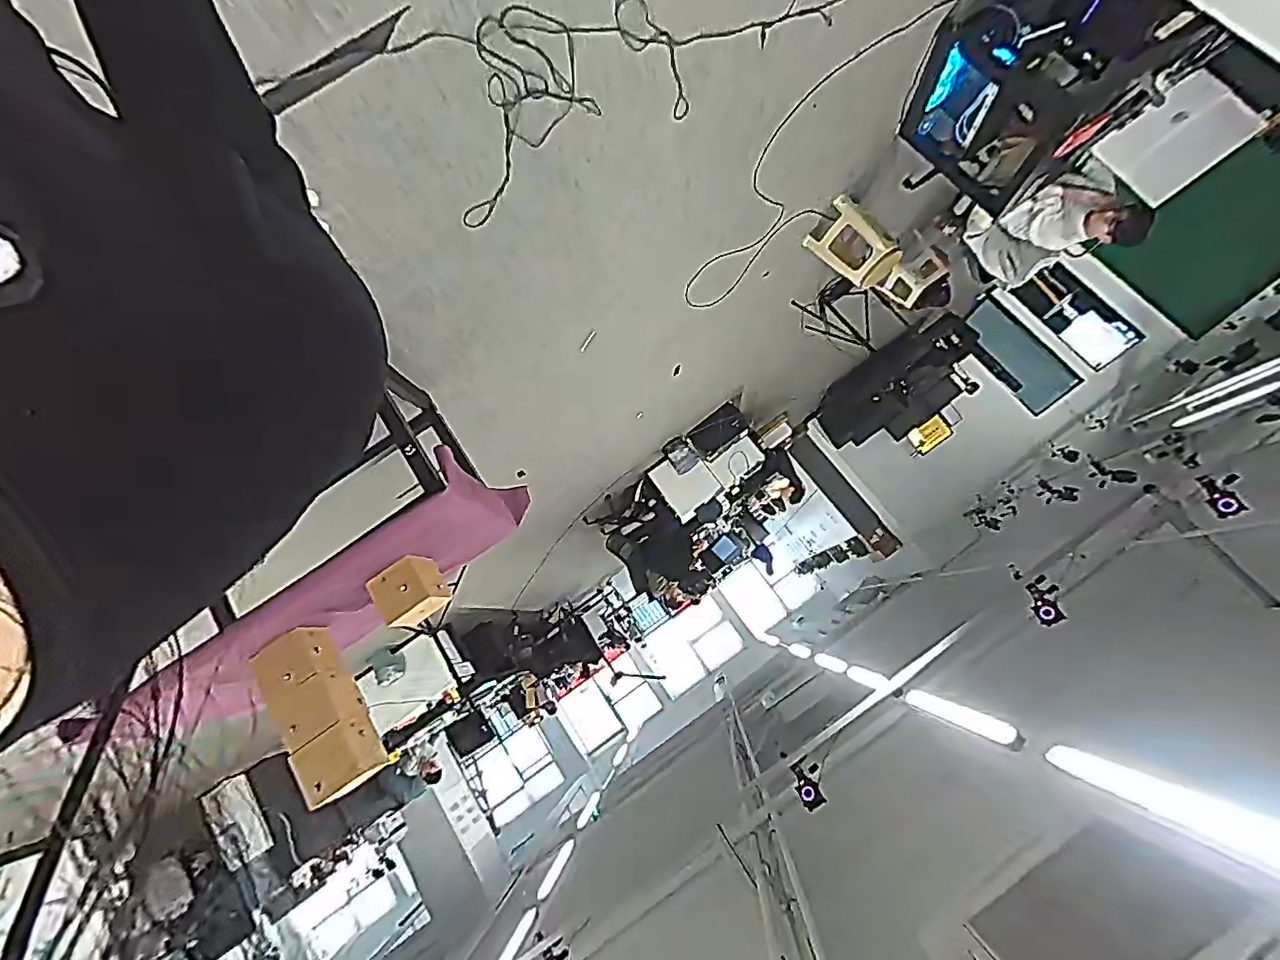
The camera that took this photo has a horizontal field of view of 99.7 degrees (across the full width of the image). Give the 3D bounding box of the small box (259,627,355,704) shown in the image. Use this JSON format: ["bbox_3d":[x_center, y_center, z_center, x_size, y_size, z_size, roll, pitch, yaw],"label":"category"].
[{"bbox_3d":[-1.073,0.589,1.742,0.179,0.176,0.168,-34,164,-5],"label":"small box"}]

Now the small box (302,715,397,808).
[{"bbox_3d":[-0.893,0.849,1.651,0.179,0.176,0.168,-36,165,-5],"label":"small box"}]

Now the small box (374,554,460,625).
[{"bbox_3d":[-0.743,0.363,1.798,0.168,0.176,0.179,-36,166,-2],"label":"small box"}]
